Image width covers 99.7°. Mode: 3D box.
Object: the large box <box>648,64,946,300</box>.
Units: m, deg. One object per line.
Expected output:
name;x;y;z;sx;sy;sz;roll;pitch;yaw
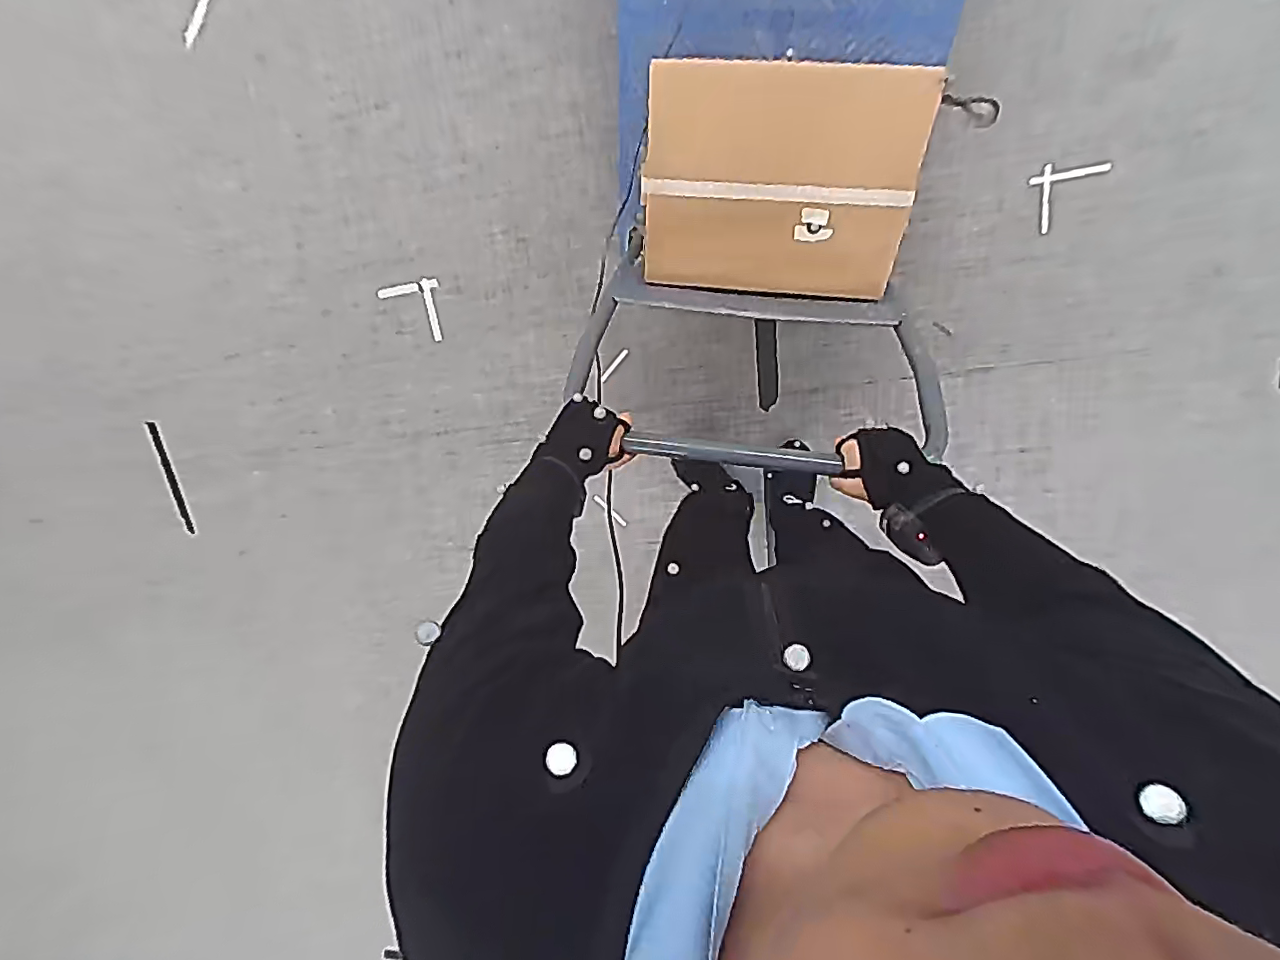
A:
large box;0.230;-0.529;0.947;0.408;0.320;0.320;6;129;6
